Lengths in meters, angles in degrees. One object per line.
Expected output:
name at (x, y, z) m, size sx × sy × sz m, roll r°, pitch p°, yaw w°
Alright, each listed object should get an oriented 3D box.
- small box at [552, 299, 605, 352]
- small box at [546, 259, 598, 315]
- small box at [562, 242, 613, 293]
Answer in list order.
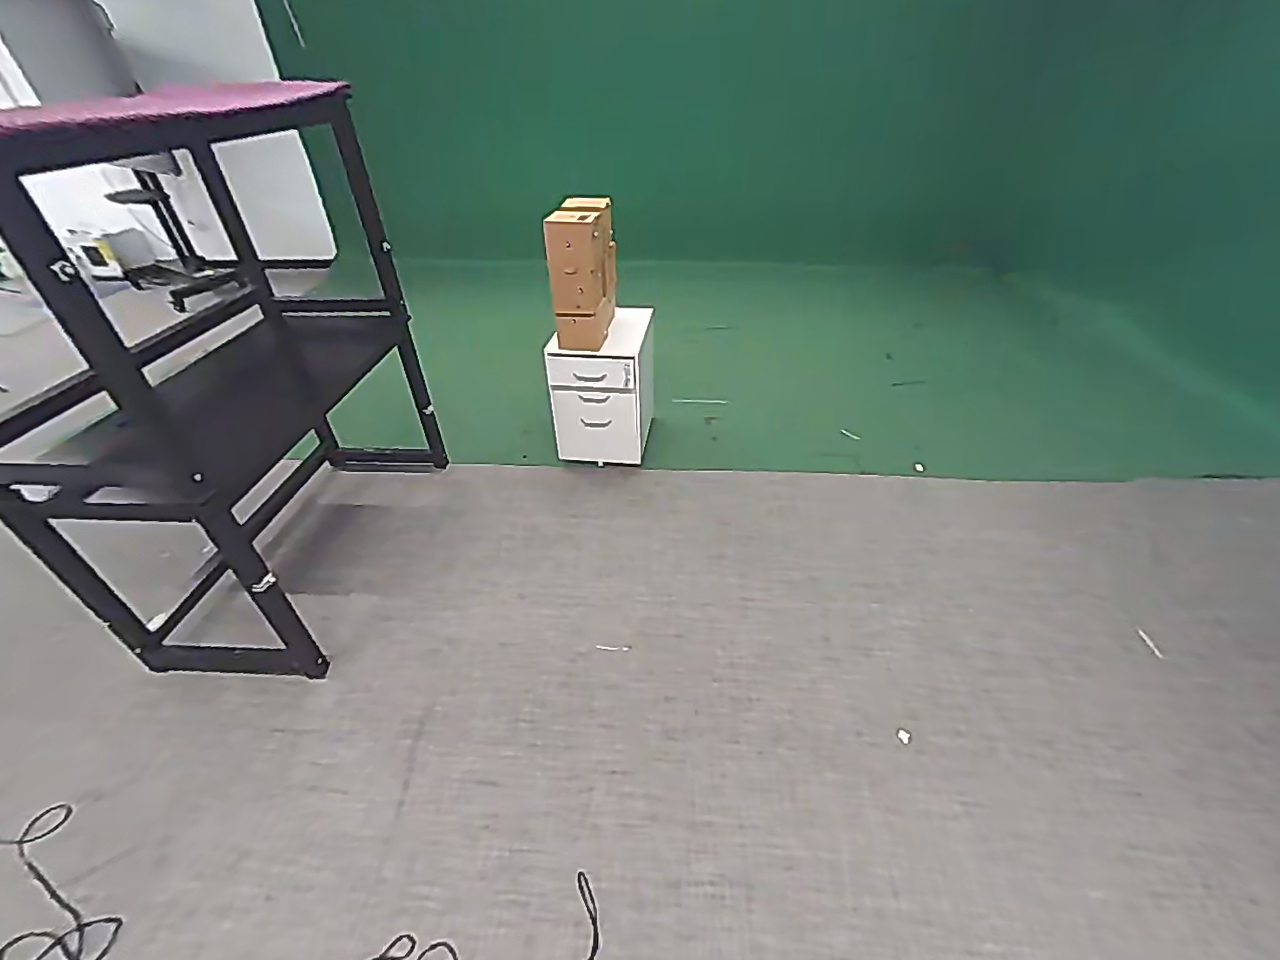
small box at (-0.247, -0.636, 2.223) m, size 0.179 × 0.176 × 0.168 m, roll 6°, pitch 38°, yaw 9°
small box at (-0.259, -0.755, 2.111) m, size 0.168 × 0.176 × 0.179 m, roll 5°, pitch 37°, yaw 6°
small box at (-0.221, -0.906, 2.308) m, size 0.179 × 0.176 × 0.168 m, roll 7°, pitch 38°, yaw 9°
